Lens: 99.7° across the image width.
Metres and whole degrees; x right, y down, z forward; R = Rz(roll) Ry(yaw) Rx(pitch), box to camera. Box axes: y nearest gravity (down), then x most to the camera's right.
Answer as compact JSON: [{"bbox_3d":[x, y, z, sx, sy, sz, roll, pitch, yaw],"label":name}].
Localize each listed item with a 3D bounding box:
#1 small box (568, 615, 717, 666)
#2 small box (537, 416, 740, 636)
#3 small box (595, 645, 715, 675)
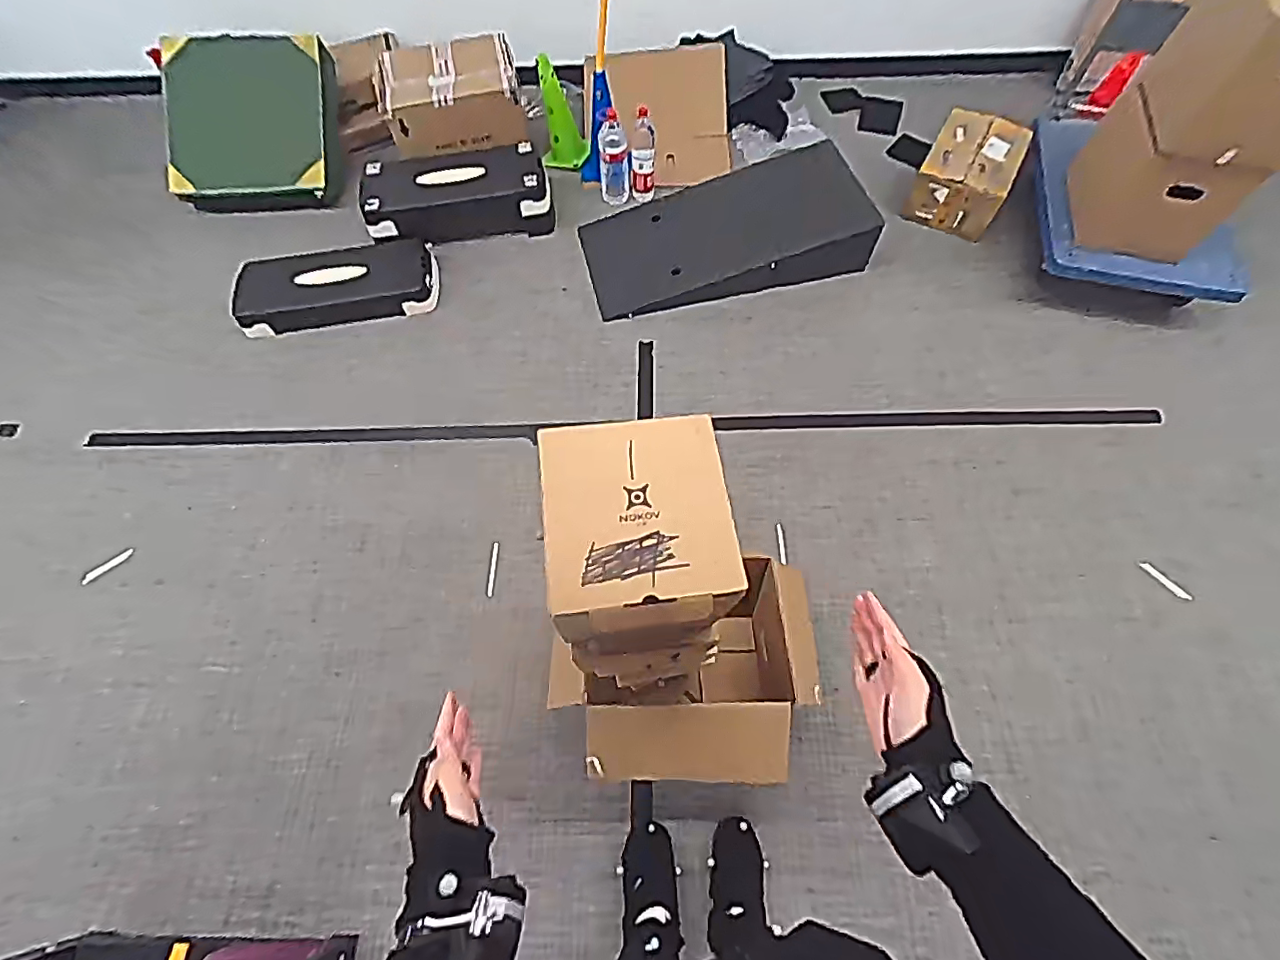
[{"bbox_3d":[-0.006,0.139,0.692,0.168,0.176,0.179,-4,66,-5],"label":"small box"},{"bbox_3d":[-0.009,0.057,0.548,0.168,0.176,0.179,-6,66,-6],"label":"small box"},{"bbox_3d":[0.007,0.204,0.841,0.179,0.176,0.168,-6,67,-5],"label":"small box"}]
